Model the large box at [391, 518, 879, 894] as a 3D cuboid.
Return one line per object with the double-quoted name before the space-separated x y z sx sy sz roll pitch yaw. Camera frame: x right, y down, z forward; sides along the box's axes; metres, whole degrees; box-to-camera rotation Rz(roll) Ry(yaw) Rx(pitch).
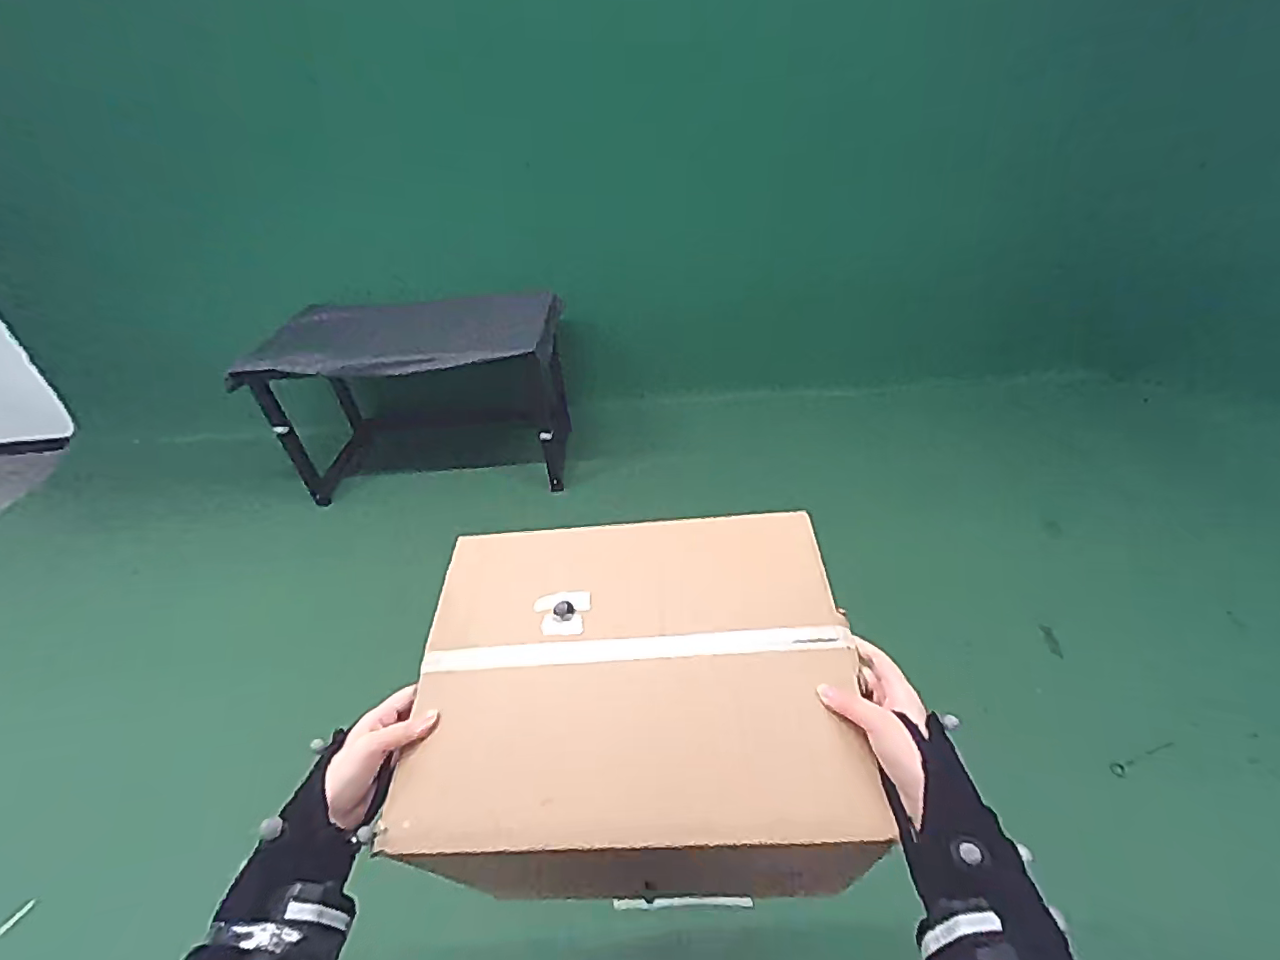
"large box" 0.008 0.276 0.637 0.408 0.320 0.320 -6 46 6
